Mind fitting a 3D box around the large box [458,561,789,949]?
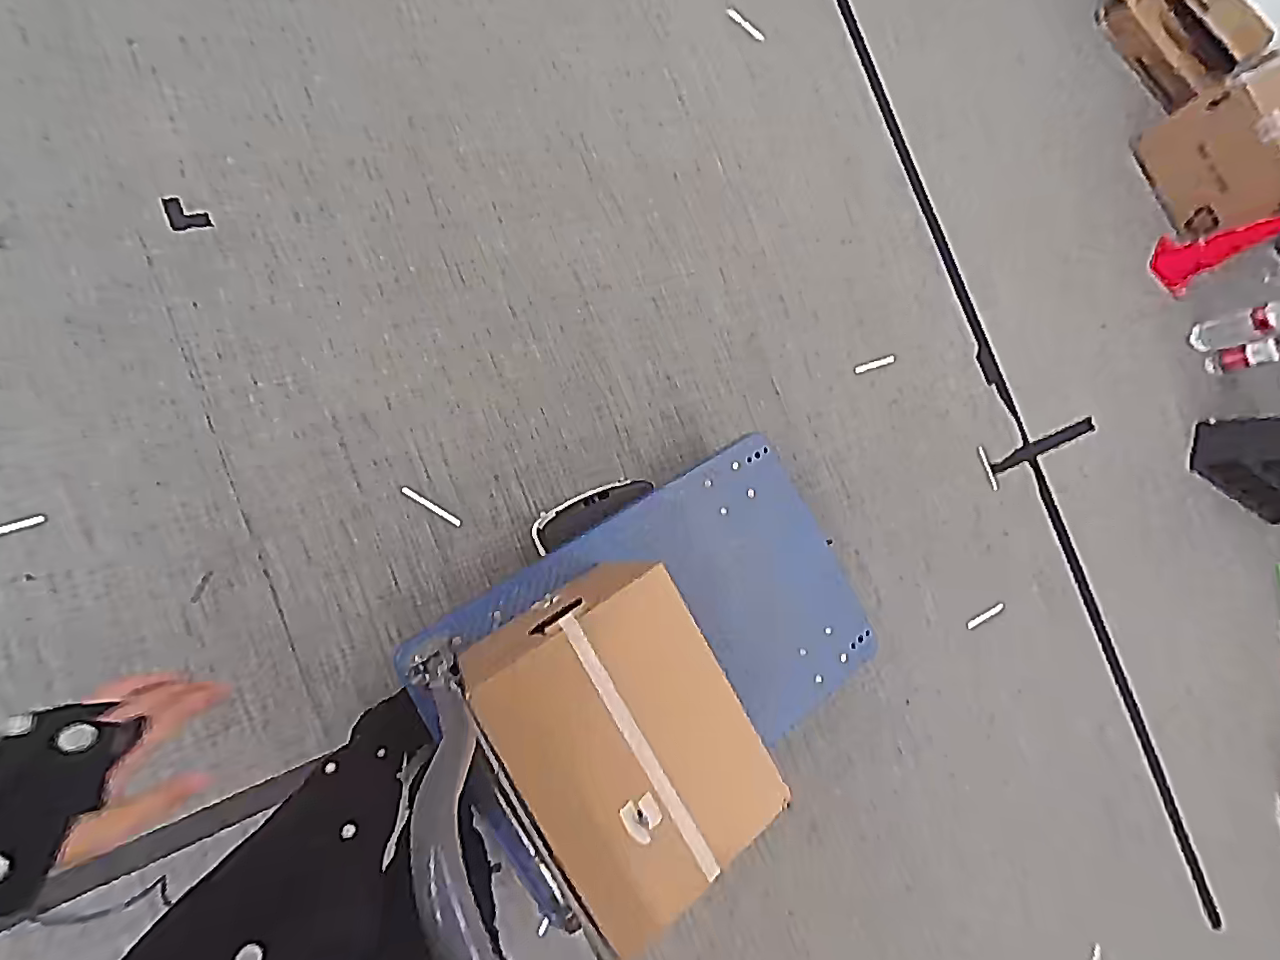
[{"bbox_3d":[-0.048,0.379,0.870,0.320,0.320,0.408,-30,93,-22],"label":"large box"}]
